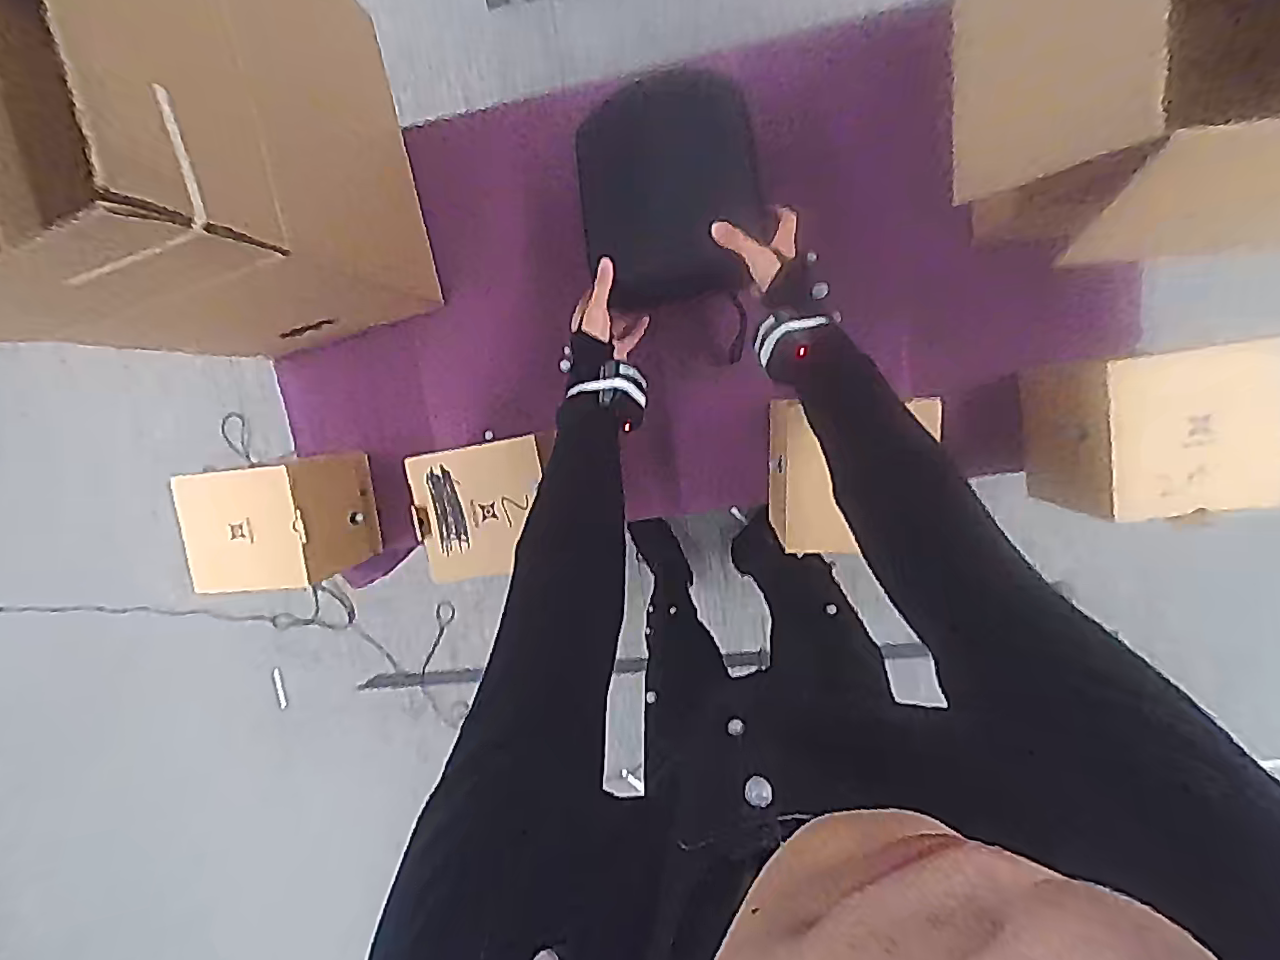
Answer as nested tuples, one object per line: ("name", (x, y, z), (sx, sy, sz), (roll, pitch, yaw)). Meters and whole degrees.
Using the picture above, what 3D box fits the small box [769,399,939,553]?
("small box", (0.257, -0.014, 0.690), (0.168, 0.176, 0.179), (-1, 100, 7))

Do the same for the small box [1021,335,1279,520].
("small box", (0.584, -0.061, 0.639), (0.168, 0.176, 0.179), (-7, 97, 9))

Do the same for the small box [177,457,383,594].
("small box", (-0.516, 0.060, 0.798), (0.179, 0.176, 0.168), (-6, 97, 7))
